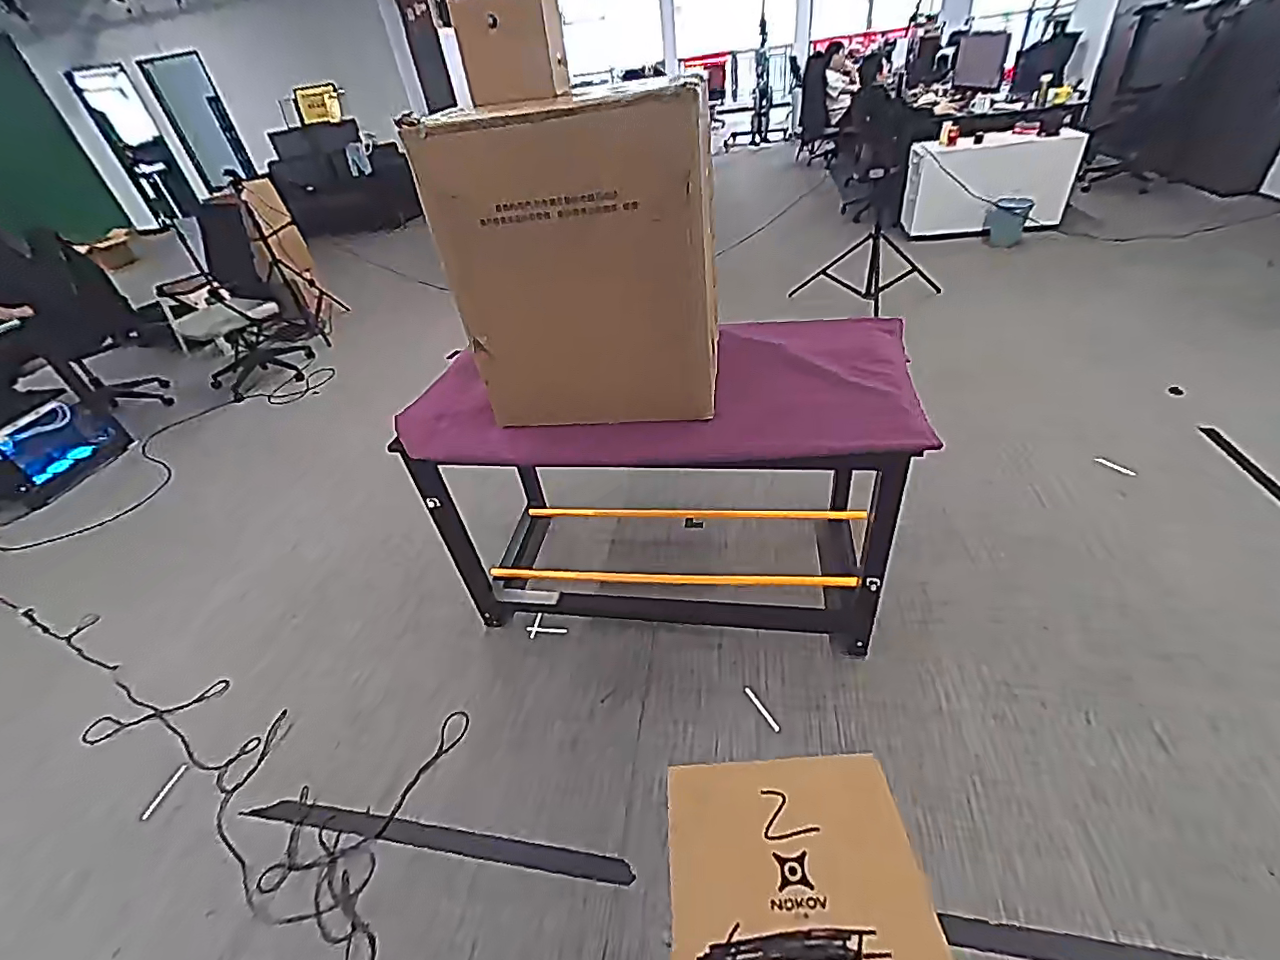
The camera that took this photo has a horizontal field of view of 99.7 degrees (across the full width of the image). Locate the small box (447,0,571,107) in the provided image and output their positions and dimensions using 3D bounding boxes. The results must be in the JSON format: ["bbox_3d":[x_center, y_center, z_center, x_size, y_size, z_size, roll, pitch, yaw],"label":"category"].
[{"bbox_3d":[-0.248,-0.855,1.074,0.179,0.176,0.168,-1,39,7],"label":"small box"}]
